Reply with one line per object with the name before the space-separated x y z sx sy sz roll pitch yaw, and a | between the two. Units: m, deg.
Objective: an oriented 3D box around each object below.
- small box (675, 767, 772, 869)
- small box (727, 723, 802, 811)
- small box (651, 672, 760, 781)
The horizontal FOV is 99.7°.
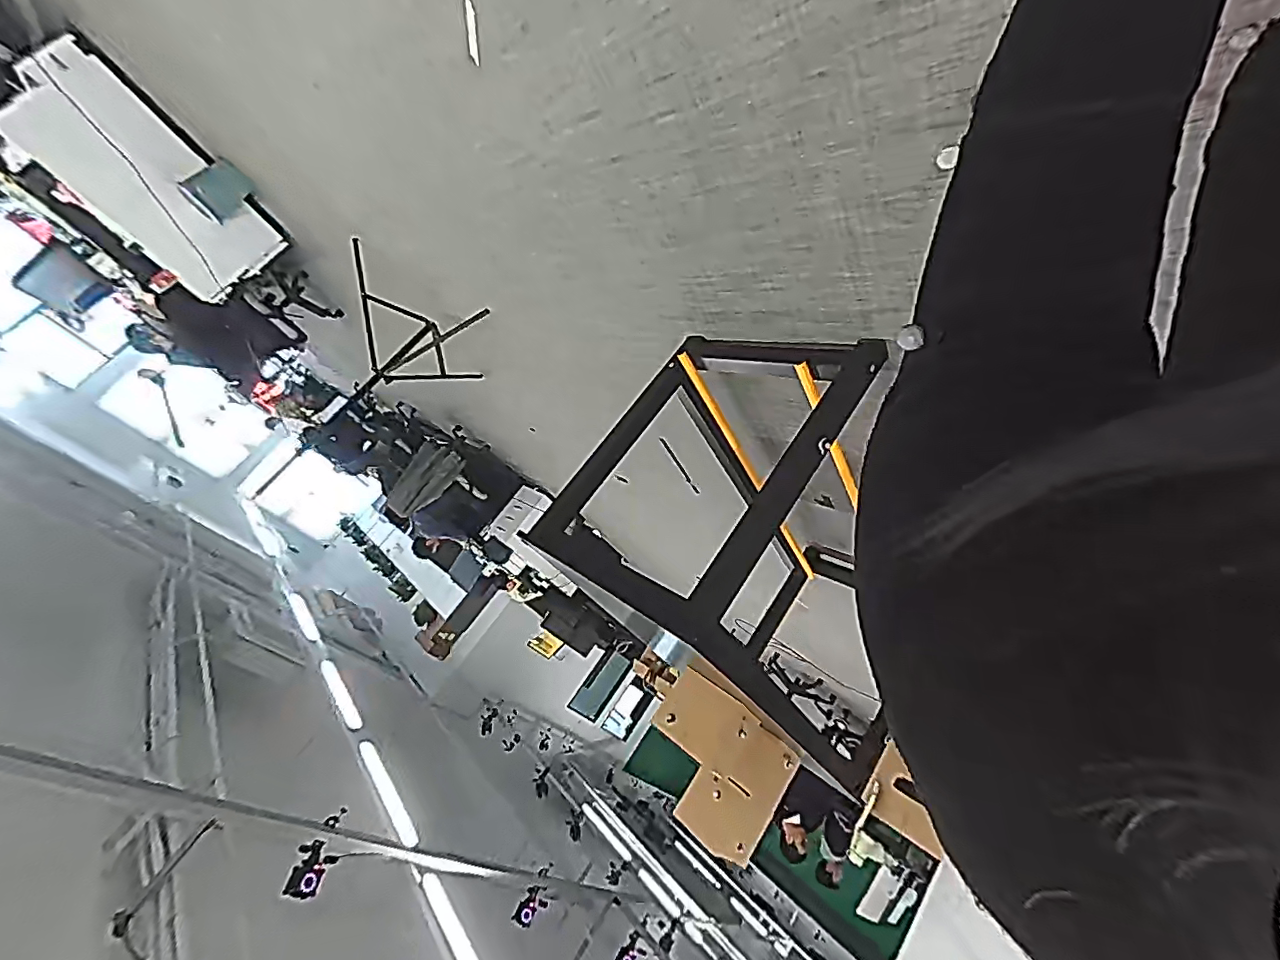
small box | 0.236 0.922 1.497 0.168 0.176 0.179 17 154 51
small box | 0.328 0.794 1.544 0.179 0.176 0.168 16 154 50
small box | 0.166 0.600 1.341 0.179 0.176 0.168 22 158 43
